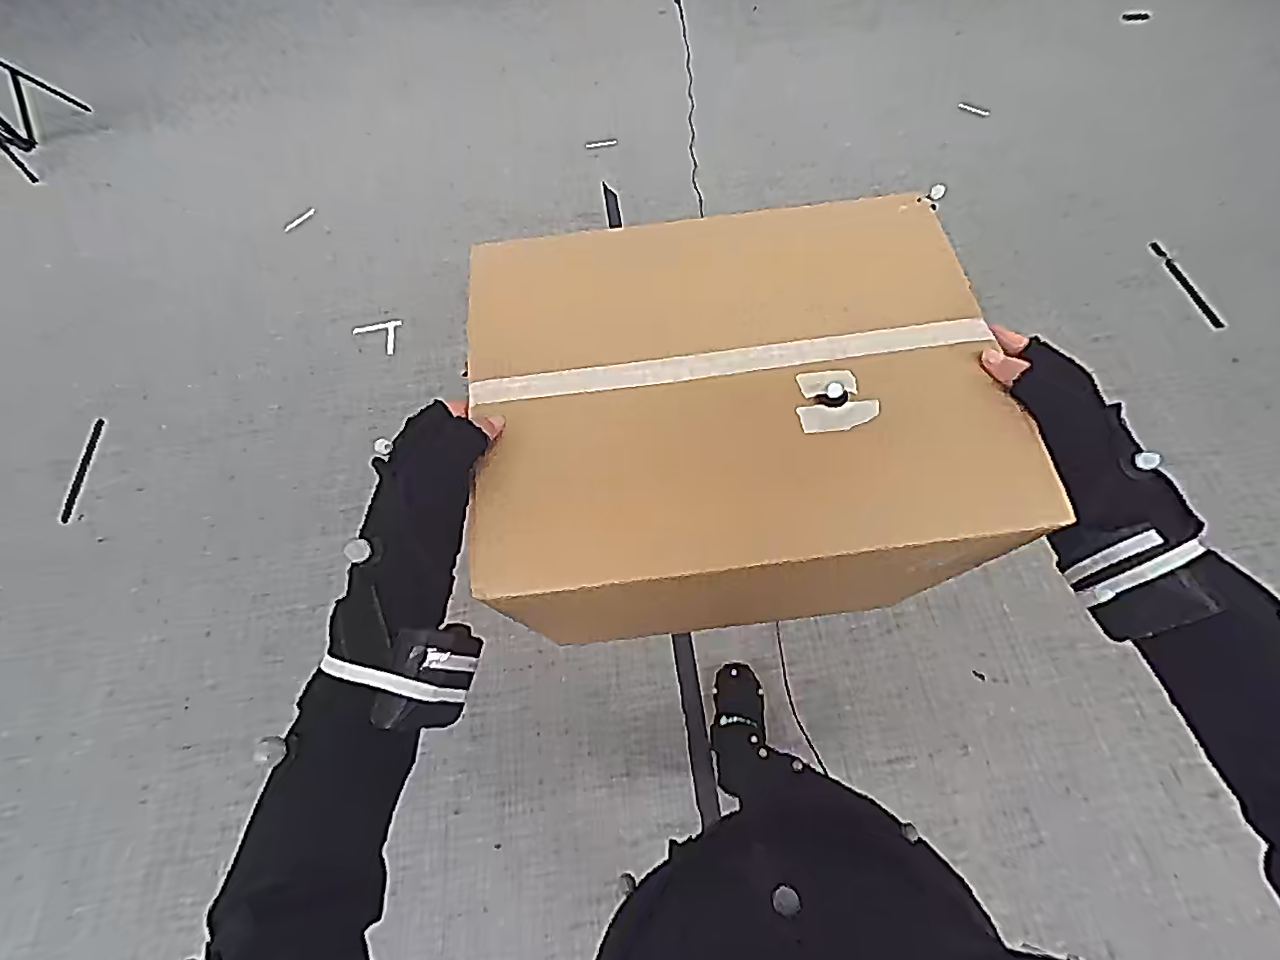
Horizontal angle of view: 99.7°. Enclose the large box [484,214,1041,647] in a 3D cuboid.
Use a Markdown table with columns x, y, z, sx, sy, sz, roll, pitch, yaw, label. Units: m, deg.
| x | y | z | sx | sy | sz | roll | pitch | yaw | label |
| --- | --- | --- | --- | --- | --- | --- | --- | --- | --- |
| 0.077 | -0.024 | 0.576 | 0.408 | 0.320 | 0.320 | -8 | 67 | -1 | large box |
